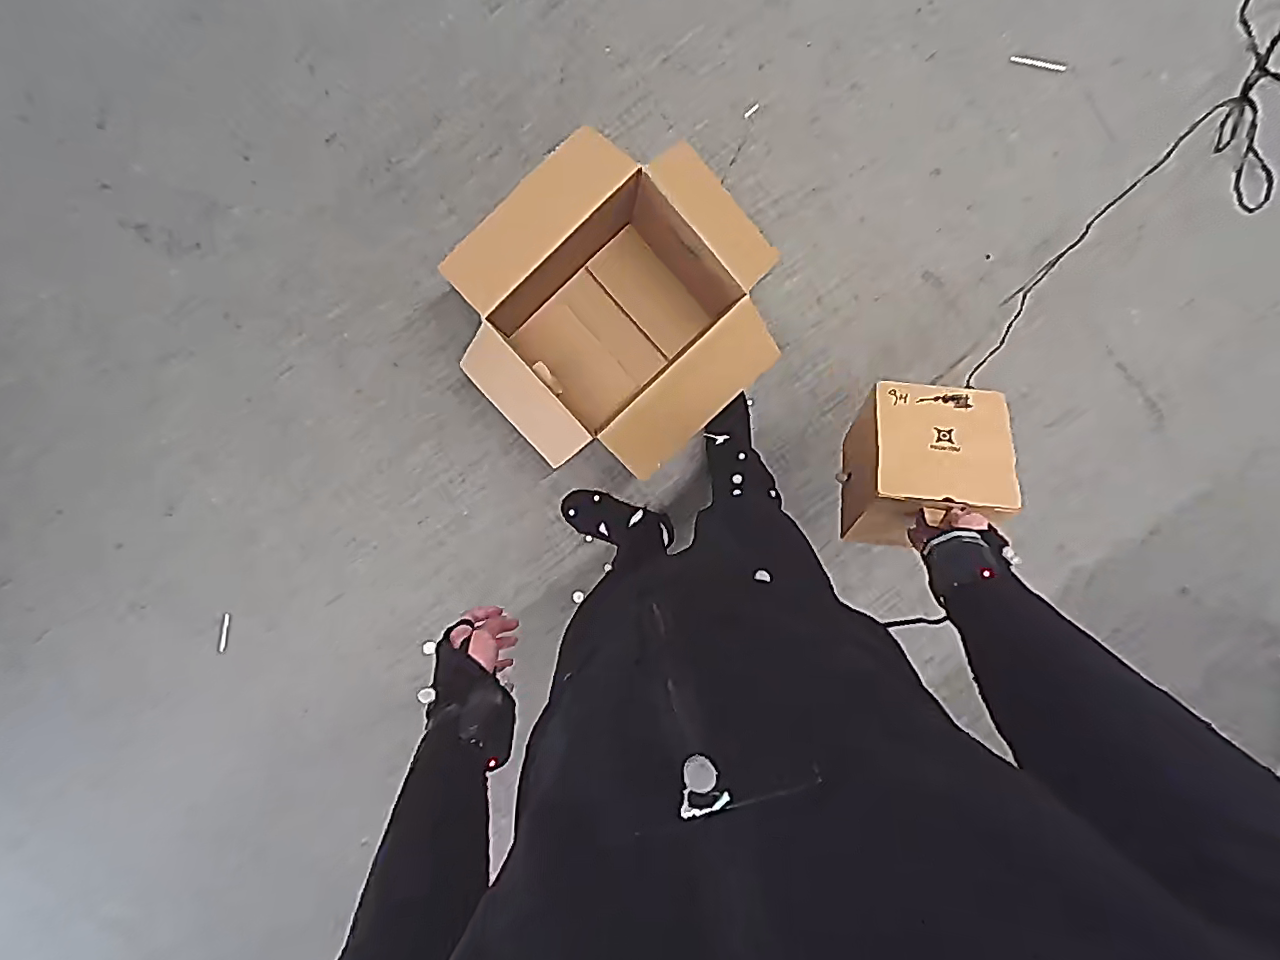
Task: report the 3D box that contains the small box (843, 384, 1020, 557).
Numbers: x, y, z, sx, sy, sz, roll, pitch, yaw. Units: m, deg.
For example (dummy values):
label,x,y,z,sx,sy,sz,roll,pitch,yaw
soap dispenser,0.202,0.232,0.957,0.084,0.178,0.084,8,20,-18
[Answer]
label,x,y,z,sx,sy,sz,roll,pitch,yaw
small box,0.391,-0.006,0.753,0.168,0.176,0.179,10,65,7
